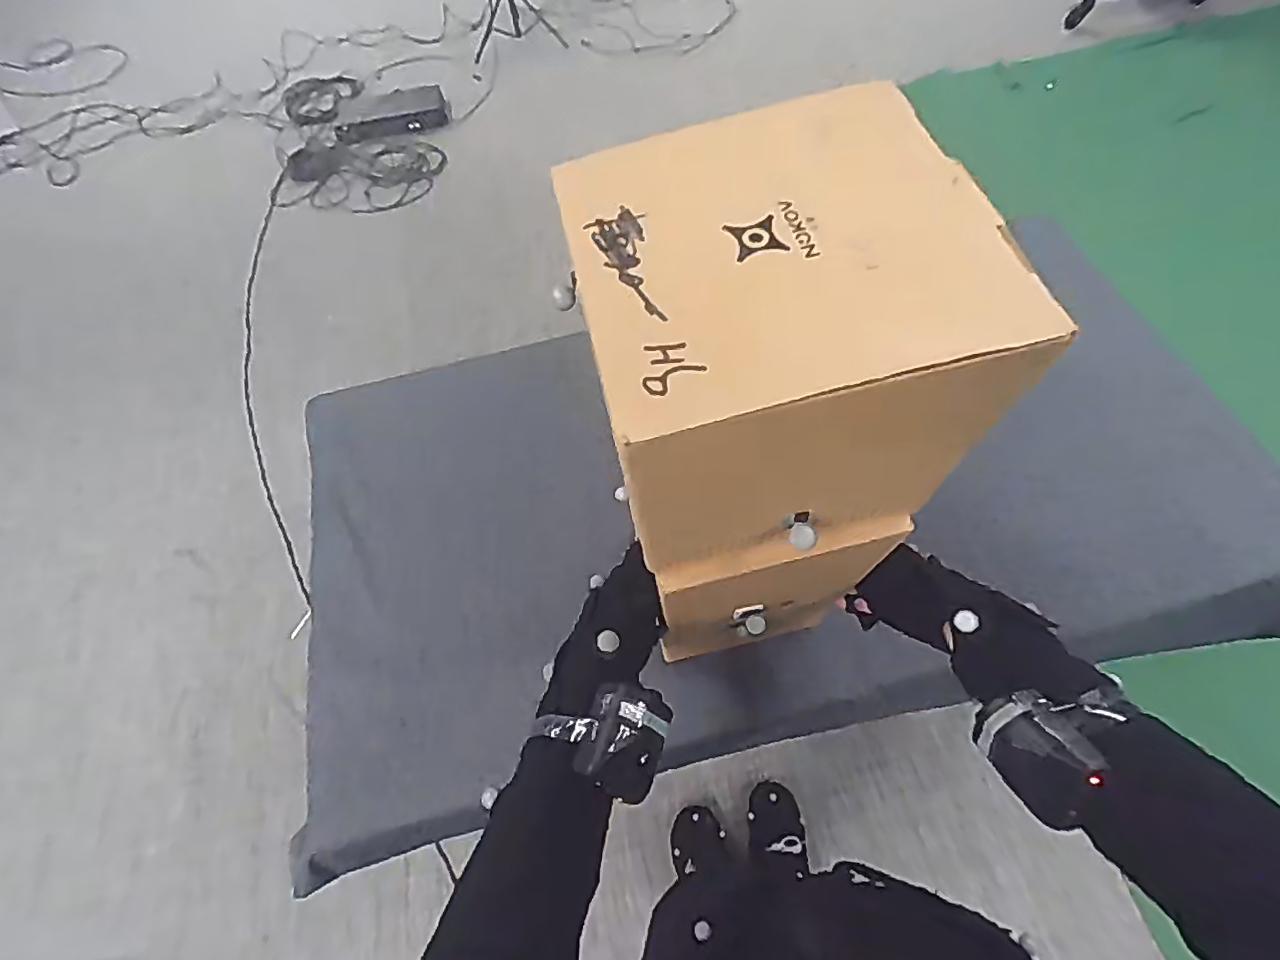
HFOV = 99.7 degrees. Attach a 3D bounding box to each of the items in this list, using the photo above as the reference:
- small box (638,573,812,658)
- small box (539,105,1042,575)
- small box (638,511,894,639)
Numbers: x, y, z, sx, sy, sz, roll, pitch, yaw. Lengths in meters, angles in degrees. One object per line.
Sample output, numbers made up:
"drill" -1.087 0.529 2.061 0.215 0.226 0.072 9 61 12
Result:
"small box" 0.086 0.086 0.592 0.179 0.176 0.168 -12 63 -2
"small box" 0.056 -0.061 0.303 0.179 0.176 0.168 -13 63 -1
"small box" 0.071 0.015 0.447 0.168 0.176 0.179 -13 64 0
